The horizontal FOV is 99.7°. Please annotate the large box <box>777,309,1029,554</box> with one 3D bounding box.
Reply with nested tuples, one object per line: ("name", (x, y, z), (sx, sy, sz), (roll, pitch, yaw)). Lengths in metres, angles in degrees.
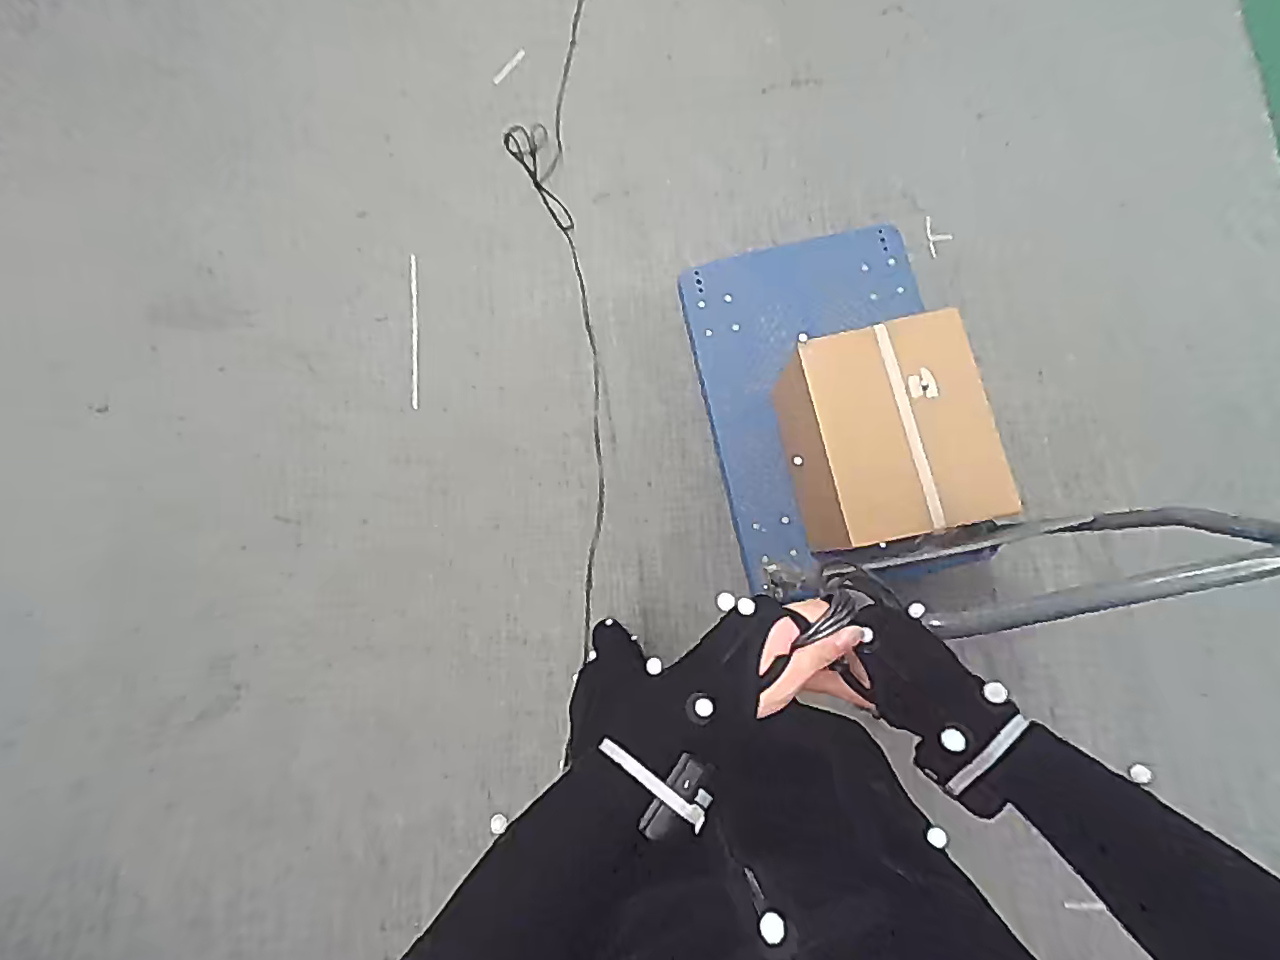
("large box", (0.508, -0.076, 1.136), (0.320, 0.320, 0.408), (-12, 80, 1))
